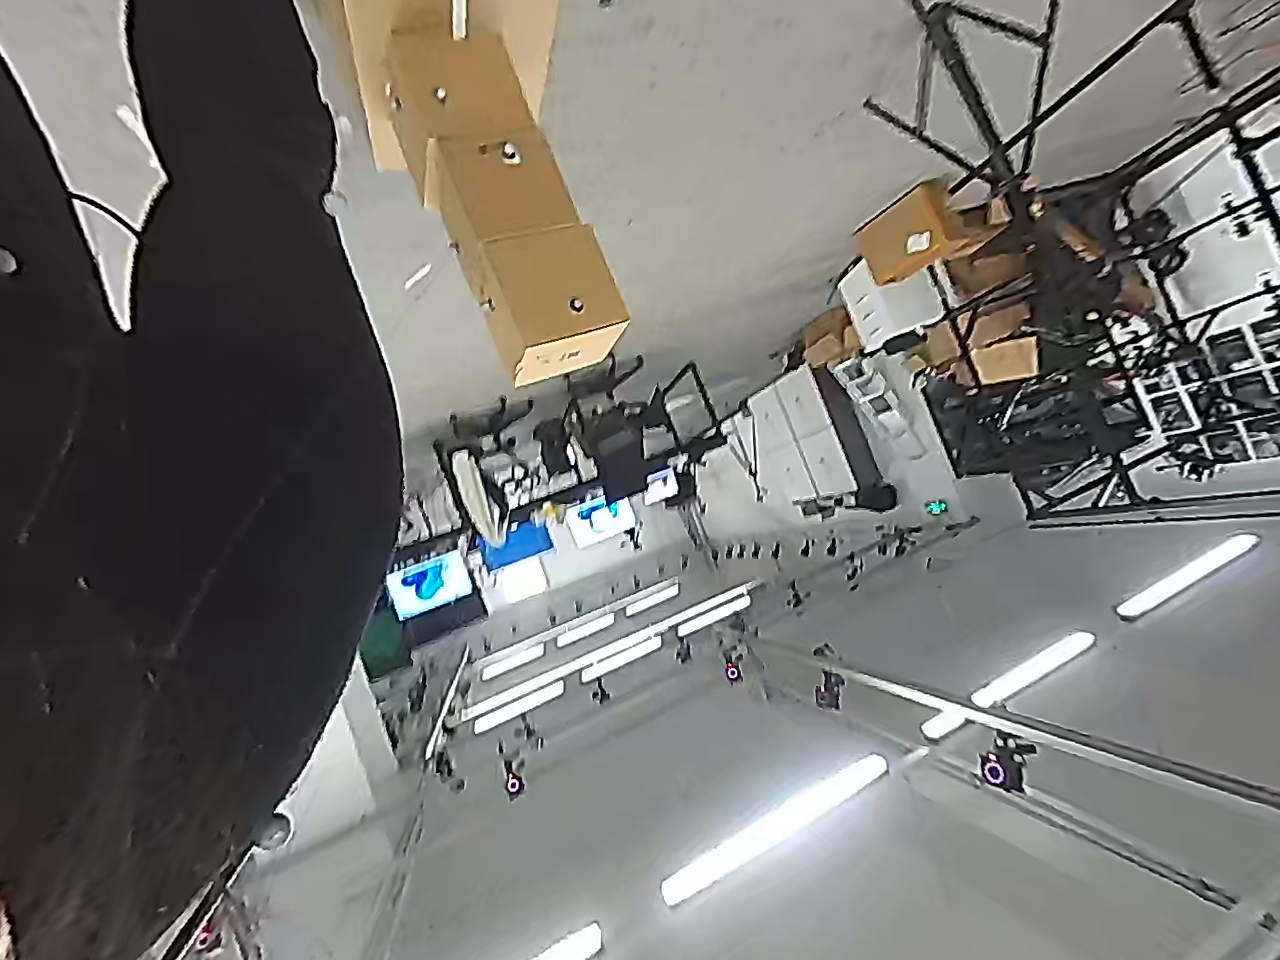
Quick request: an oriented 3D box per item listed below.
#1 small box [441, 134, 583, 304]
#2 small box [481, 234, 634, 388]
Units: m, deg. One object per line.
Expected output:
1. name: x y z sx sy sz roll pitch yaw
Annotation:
1. small box: -0.214 -0.421 0.884 0.168 0.176 0.179 -22 176 -20
2. small box: -0.139 -0.274 0.877 0.179 0.176 0.168 -21 177 -22
